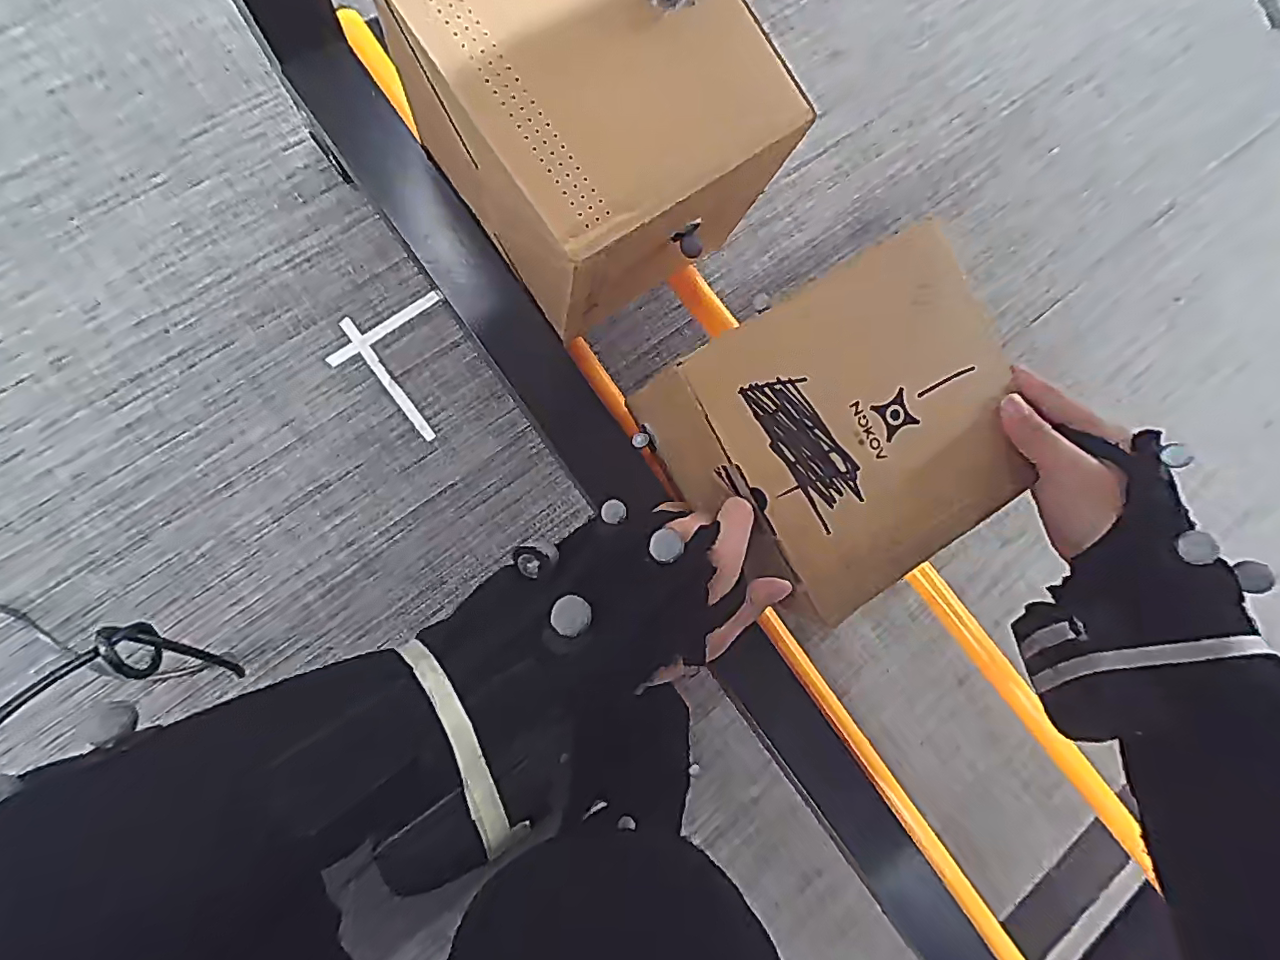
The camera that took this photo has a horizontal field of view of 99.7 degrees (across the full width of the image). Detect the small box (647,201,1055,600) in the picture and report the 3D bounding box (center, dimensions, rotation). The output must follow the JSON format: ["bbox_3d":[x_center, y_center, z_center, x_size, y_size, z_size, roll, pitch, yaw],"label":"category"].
[{"bbox_3d":[0.119,-0.045,0.376,0.179,0.176,0.168,-31,97,-10],"label":"small box"}]
